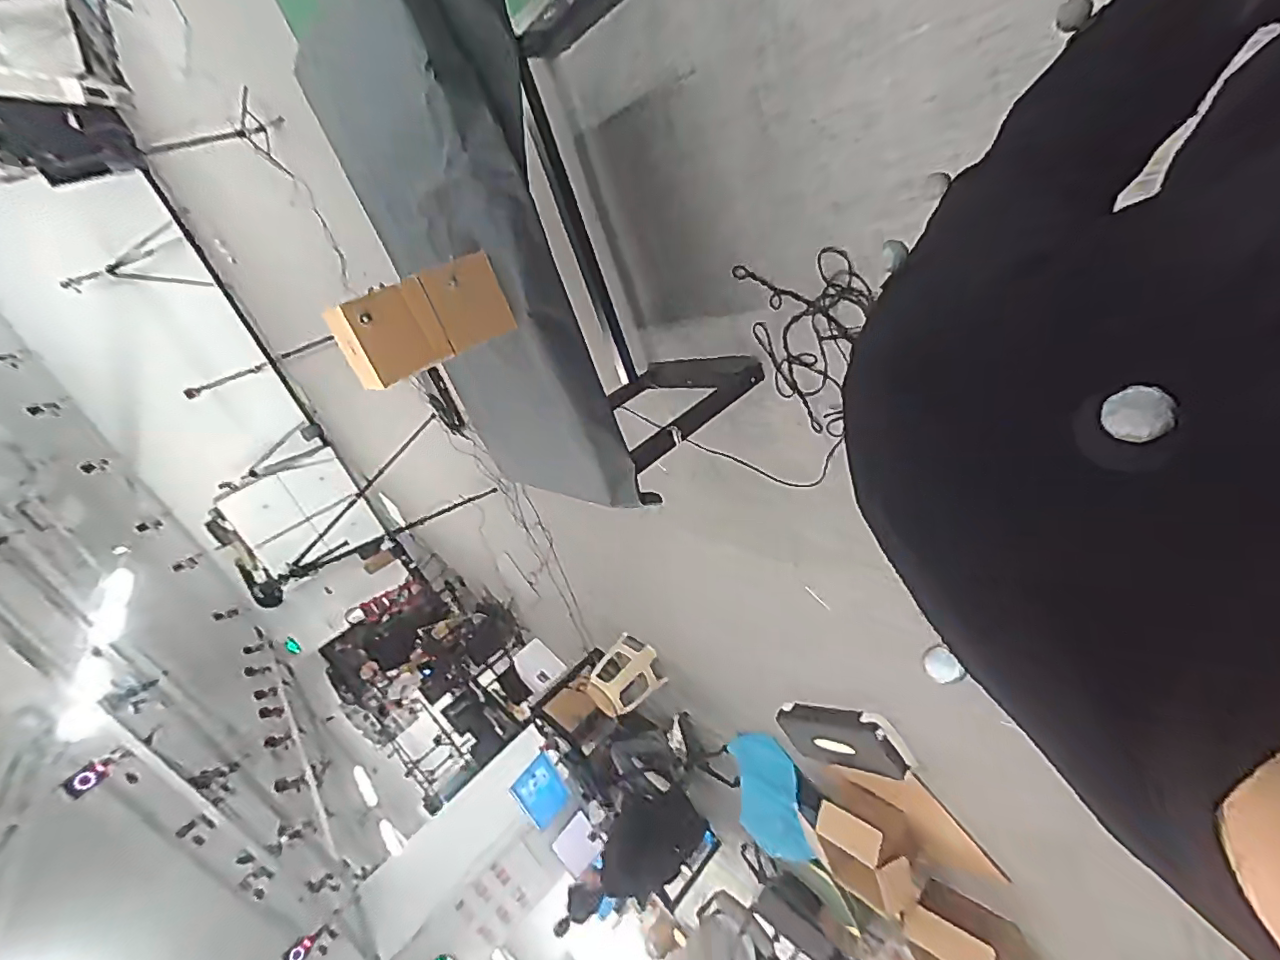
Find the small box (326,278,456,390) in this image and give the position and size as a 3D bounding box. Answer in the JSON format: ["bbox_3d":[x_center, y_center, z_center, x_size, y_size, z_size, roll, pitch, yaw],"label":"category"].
[{"bbox_3d":[-0.520,-0.306,1.141,0.168,0.176,0.179,12,129,49],"label":"small box"}]
